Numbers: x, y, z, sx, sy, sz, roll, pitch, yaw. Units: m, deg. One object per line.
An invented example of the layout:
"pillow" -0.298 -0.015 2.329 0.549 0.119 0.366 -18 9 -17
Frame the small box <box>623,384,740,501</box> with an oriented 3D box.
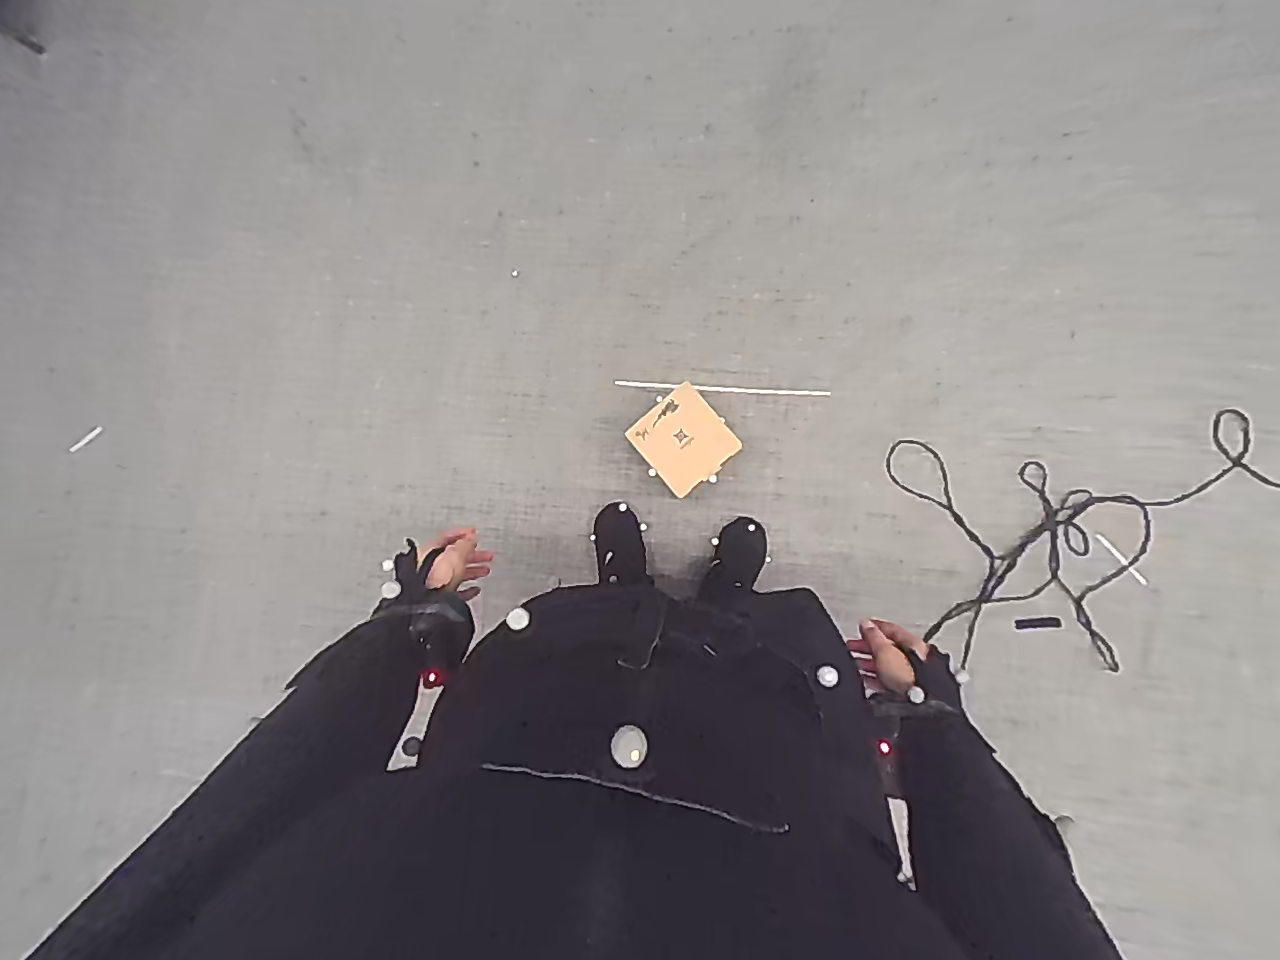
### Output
"small box" 0.088 -0.075 1.142 0.168 0.176 0.179 -40 86 3
